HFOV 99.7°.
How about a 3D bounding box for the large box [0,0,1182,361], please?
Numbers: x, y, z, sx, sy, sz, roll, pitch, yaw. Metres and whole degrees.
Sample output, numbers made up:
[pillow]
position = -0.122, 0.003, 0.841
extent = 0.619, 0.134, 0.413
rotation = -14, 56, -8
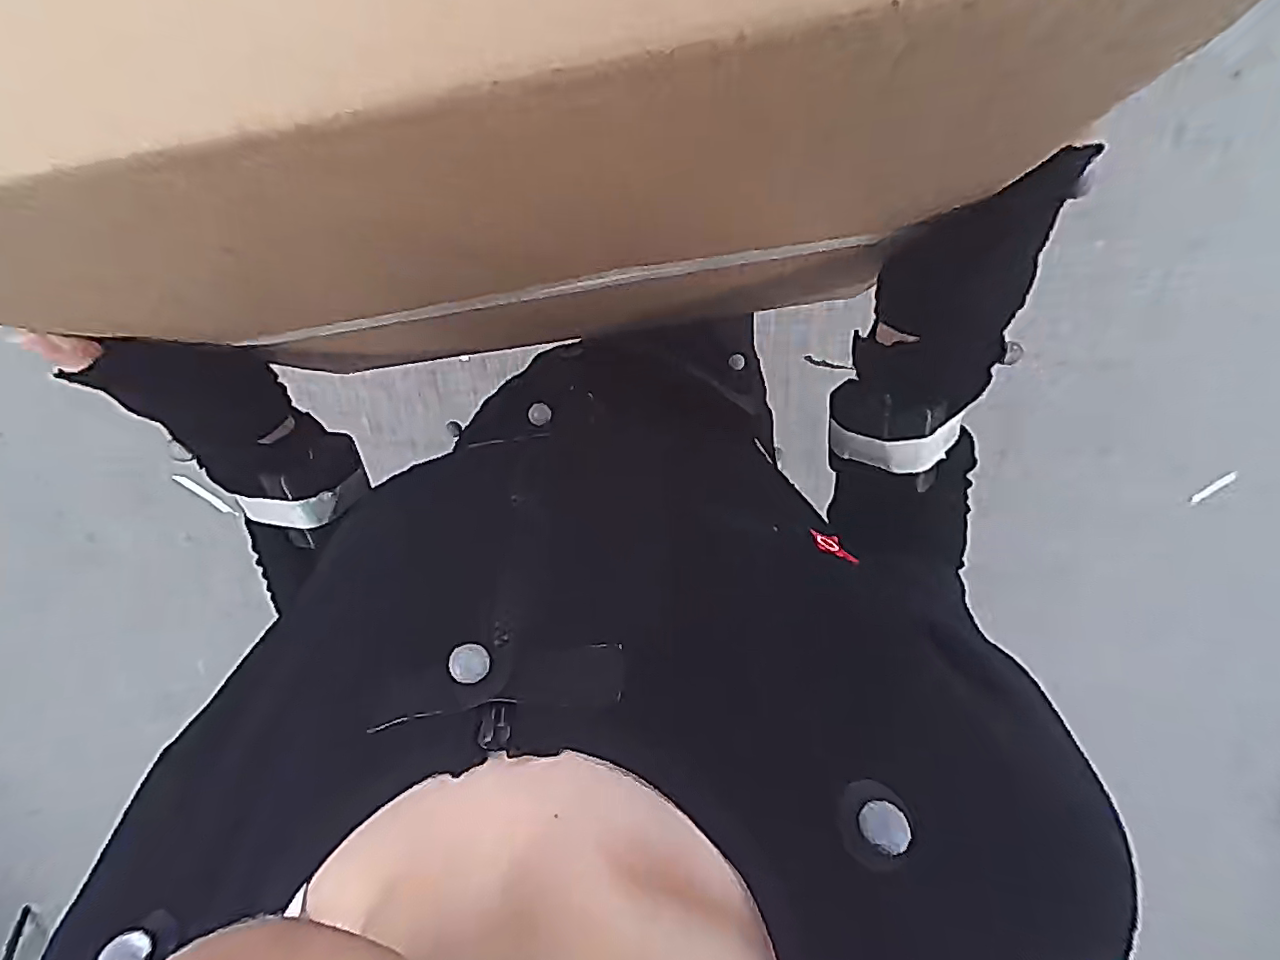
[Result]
[large box]
position = -0.068, -0.259, 0.262
extent = 0.408, 0.320, 0.320
rotation = -7, 96, 5
